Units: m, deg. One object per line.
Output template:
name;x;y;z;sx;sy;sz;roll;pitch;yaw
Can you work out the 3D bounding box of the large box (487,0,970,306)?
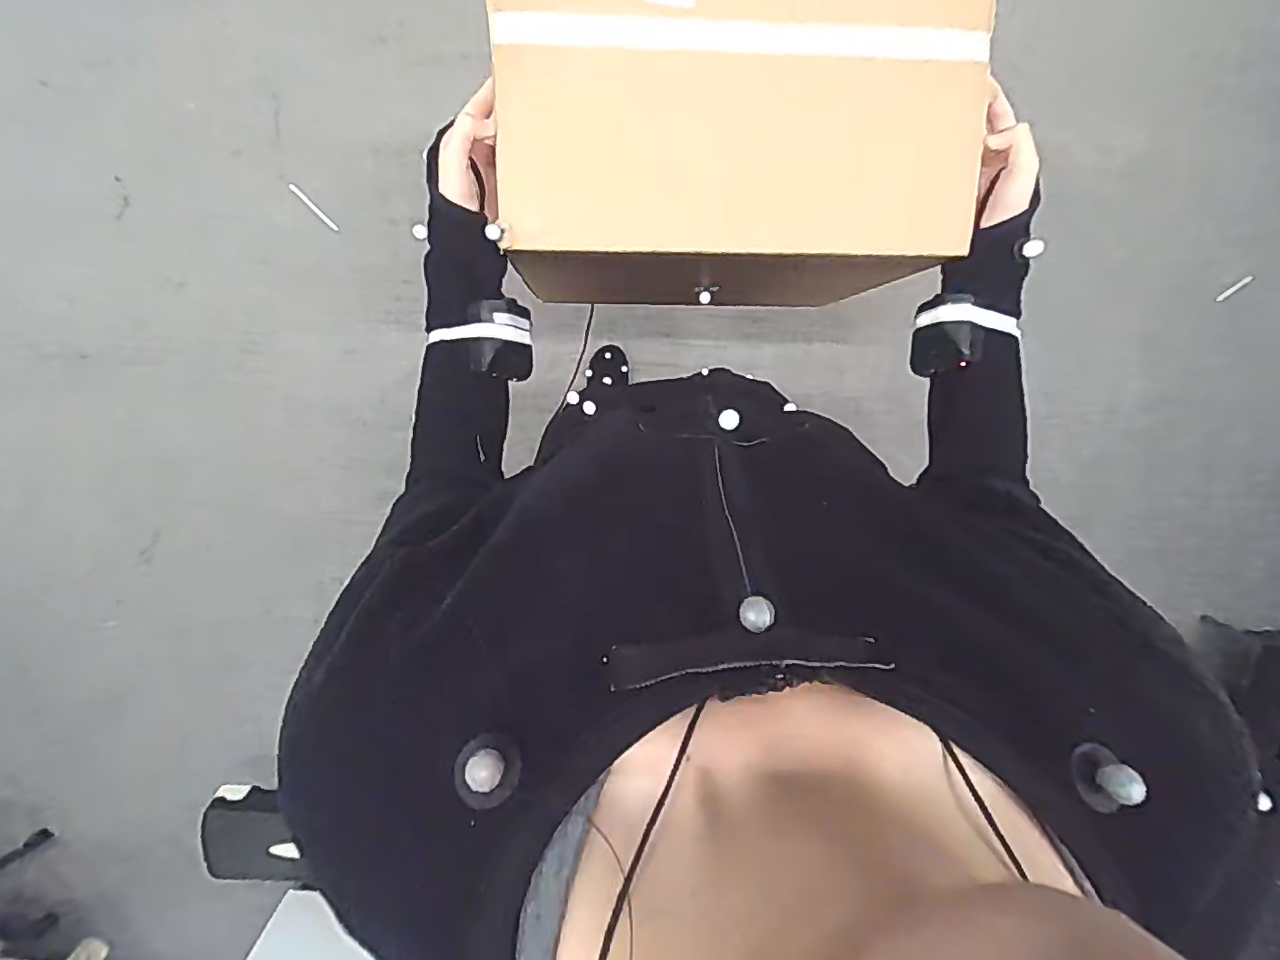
large box;0.069;-0.370;0.594;0.408;0.320;0.320;-1;99;-3
